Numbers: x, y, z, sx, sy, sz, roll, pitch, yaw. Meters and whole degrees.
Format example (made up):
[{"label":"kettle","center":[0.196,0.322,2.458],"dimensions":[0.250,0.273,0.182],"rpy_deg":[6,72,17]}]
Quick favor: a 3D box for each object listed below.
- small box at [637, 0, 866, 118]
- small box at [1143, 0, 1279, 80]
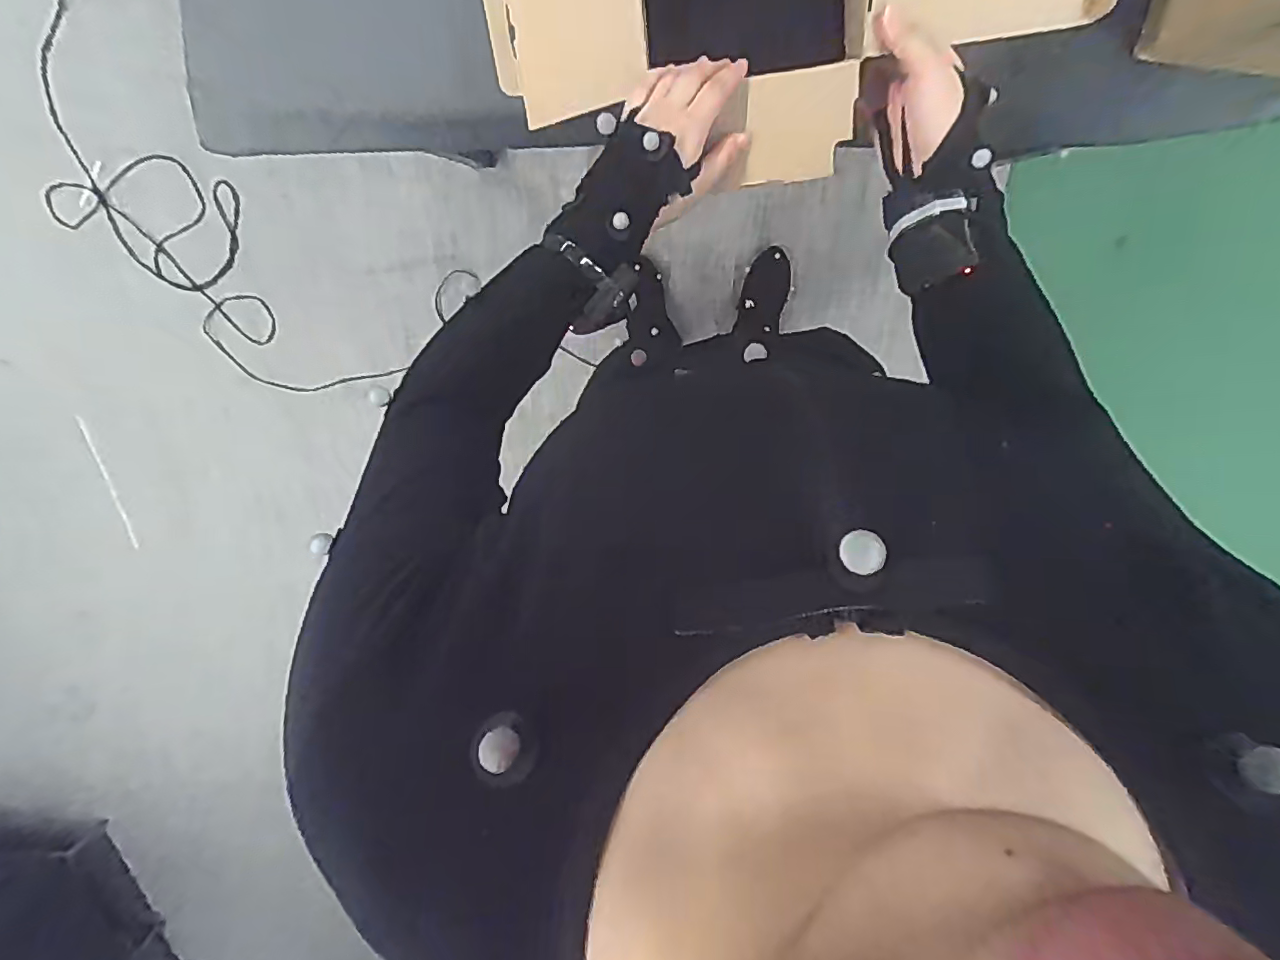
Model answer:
[{"label":"small box","center":[0.090,-0.432,0.474],"dimensions":[0.179,0.176,0.168],"rpy_deg":[-3,117,8]},{"label":"small box","center":[0.568,-0.442,0.422],"dimensions":[0.179,0.176,0.168],"rpy_deg":[9,111,3]}]
